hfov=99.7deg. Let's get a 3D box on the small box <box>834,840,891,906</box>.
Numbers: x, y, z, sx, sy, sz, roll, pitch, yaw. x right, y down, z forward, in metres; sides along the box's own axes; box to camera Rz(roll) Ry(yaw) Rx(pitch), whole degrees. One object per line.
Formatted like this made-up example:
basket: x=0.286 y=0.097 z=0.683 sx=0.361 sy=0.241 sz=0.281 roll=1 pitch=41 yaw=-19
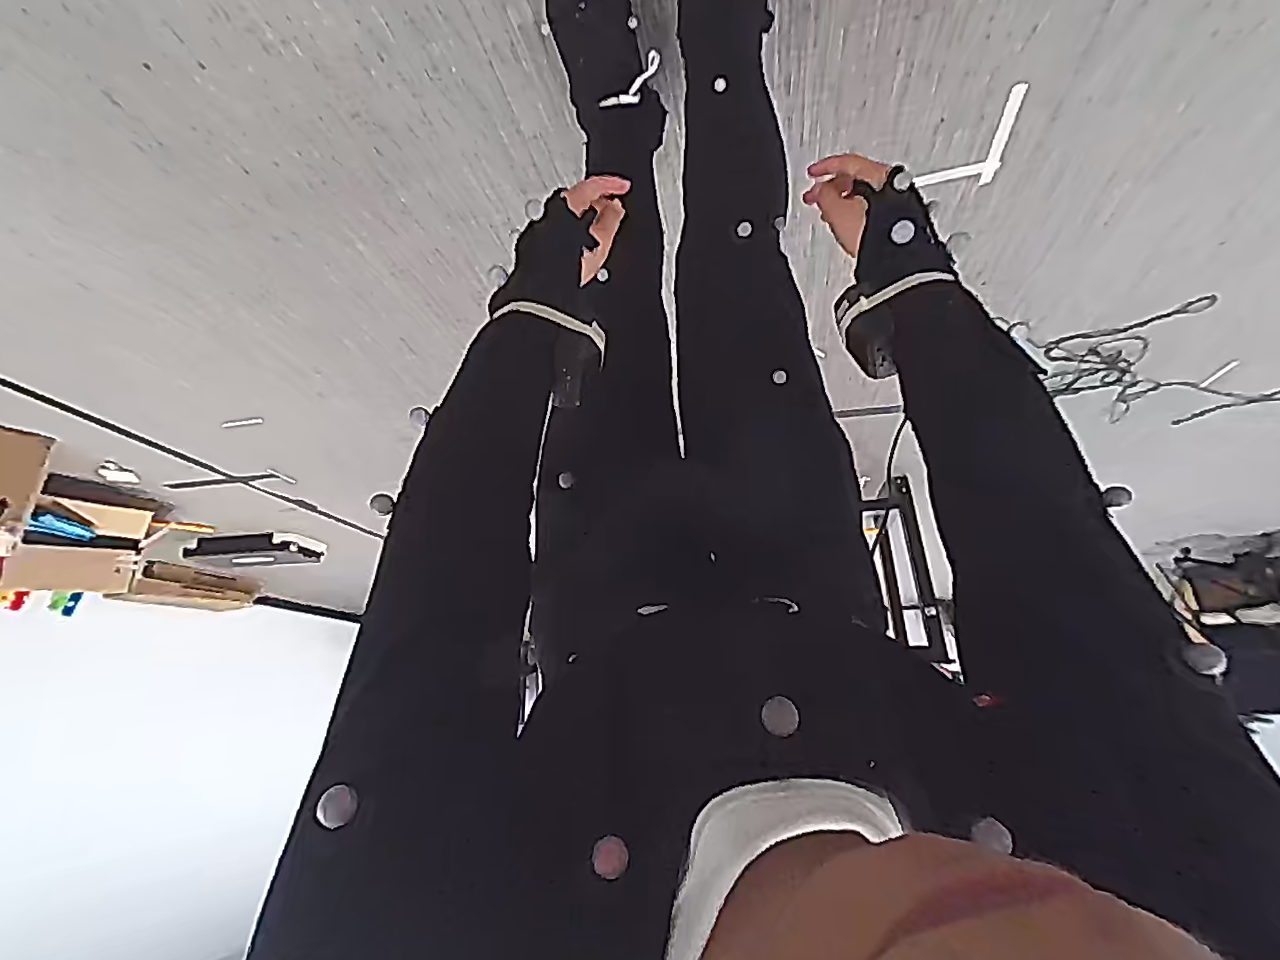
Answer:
small box: x=0.834 y=1.477 z=2.044 sx=0.168 sy=0.176 sz=0.179 roll=-6 pitch=157 yaw=13
